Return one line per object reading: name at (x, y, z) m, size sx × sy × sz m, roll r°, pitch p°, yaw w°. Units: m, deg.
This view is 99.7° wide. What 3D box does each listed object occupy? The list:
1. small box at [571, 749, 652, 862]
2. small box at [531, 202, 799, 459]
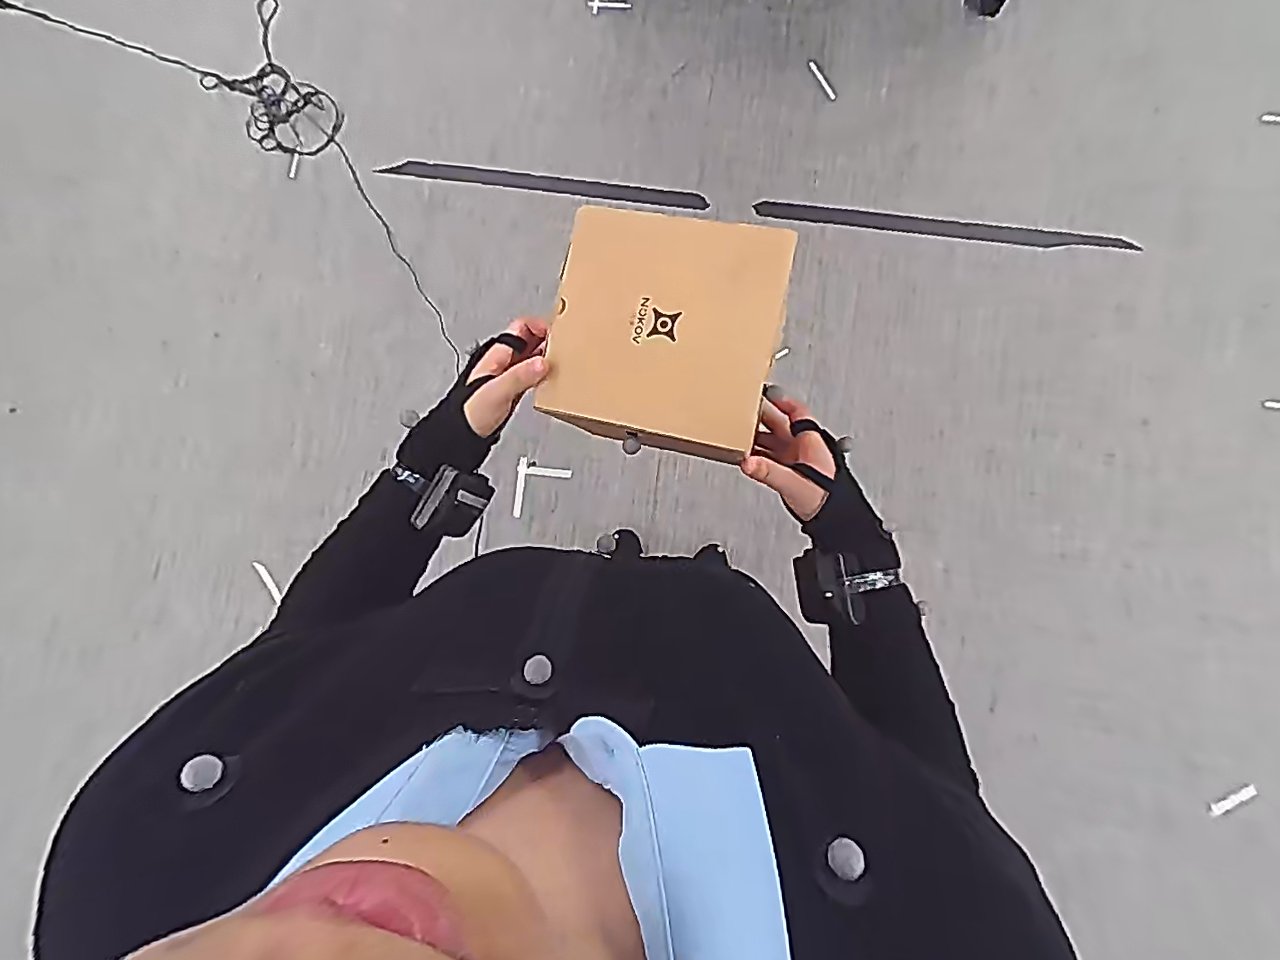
small box at (-0.064, 0.809, 1.367) m, size 0.168 × 0.176 × 0.179 m, roll 10°, pitch 86°, yaw 5°
small box at (0.031, -0.116, 0.483) m, size 0.179 × 0.176 × 0.168 m, roll 13°, pitch 90°, yaw 13°
